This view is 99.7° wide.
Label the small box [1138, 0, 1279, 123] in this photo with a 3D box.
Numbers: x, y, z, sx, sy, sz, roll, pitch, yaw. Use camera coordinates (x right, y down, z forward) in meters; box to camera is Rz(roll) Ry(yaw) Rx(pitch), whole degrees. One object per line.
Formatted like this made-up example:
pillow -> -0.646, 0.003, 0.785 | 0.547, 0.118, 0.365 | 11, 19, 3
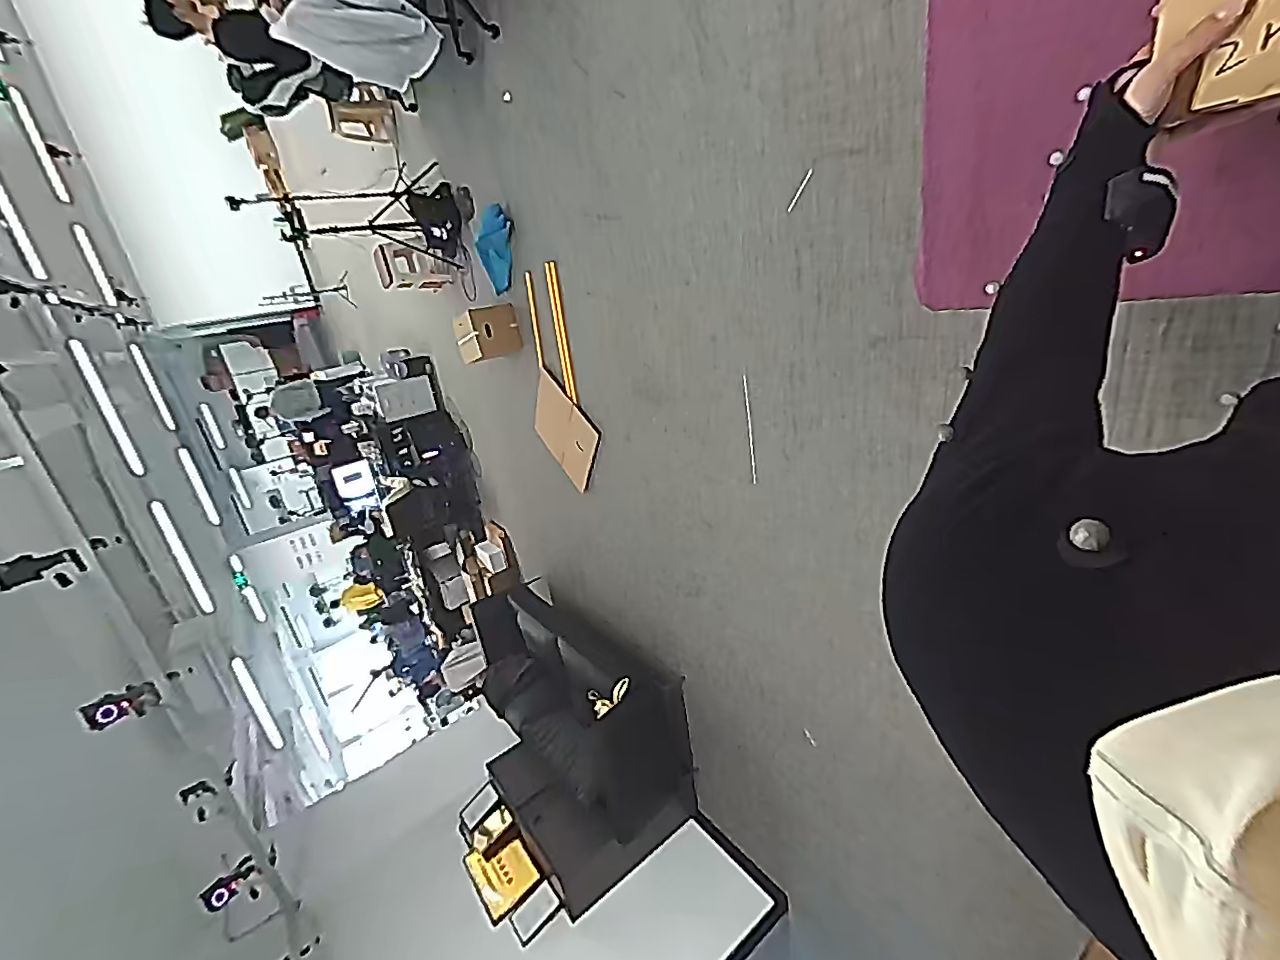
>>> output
small box -> 0.563, -0.421, 0.451 | 0.168, 0.176, 0.179 | 20, 125, 52
